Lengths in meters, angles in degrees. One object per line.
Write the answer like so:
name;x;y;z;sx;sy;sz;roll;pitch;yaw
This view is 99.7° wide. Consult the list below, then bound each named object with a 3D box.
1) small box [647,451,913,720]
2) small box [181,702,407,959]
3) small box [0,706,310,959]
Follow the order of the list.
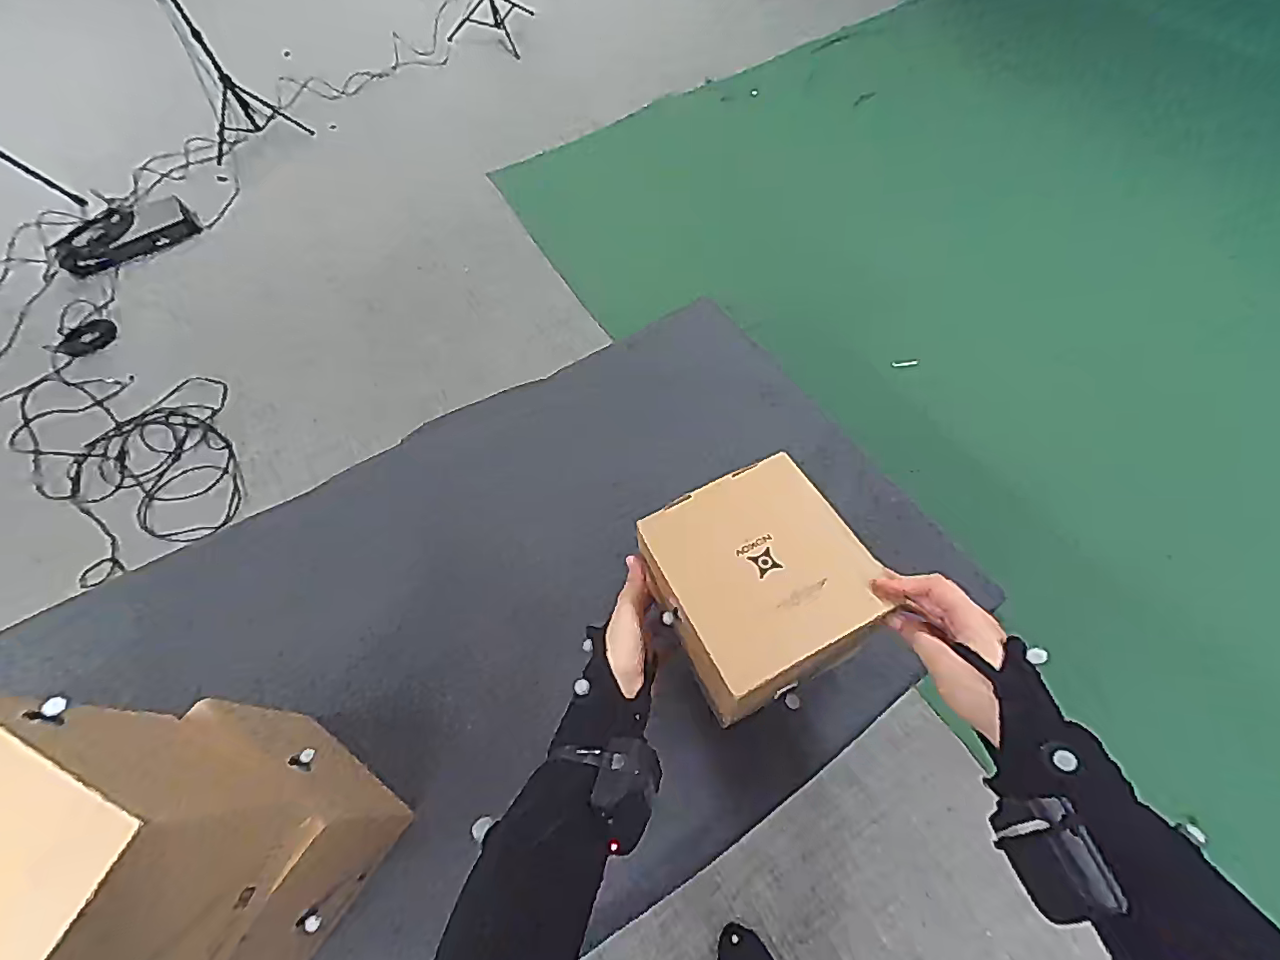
small box;0.119;0.110;0.534;0.168;0.176;0.179;-26;60;-10
small box;-0.355;0.333;0.496;0.179;0.176;0.168;29;67;19
small box;-0.368;0.263;0.350;0.179;0.176;0.168;18;65;15
